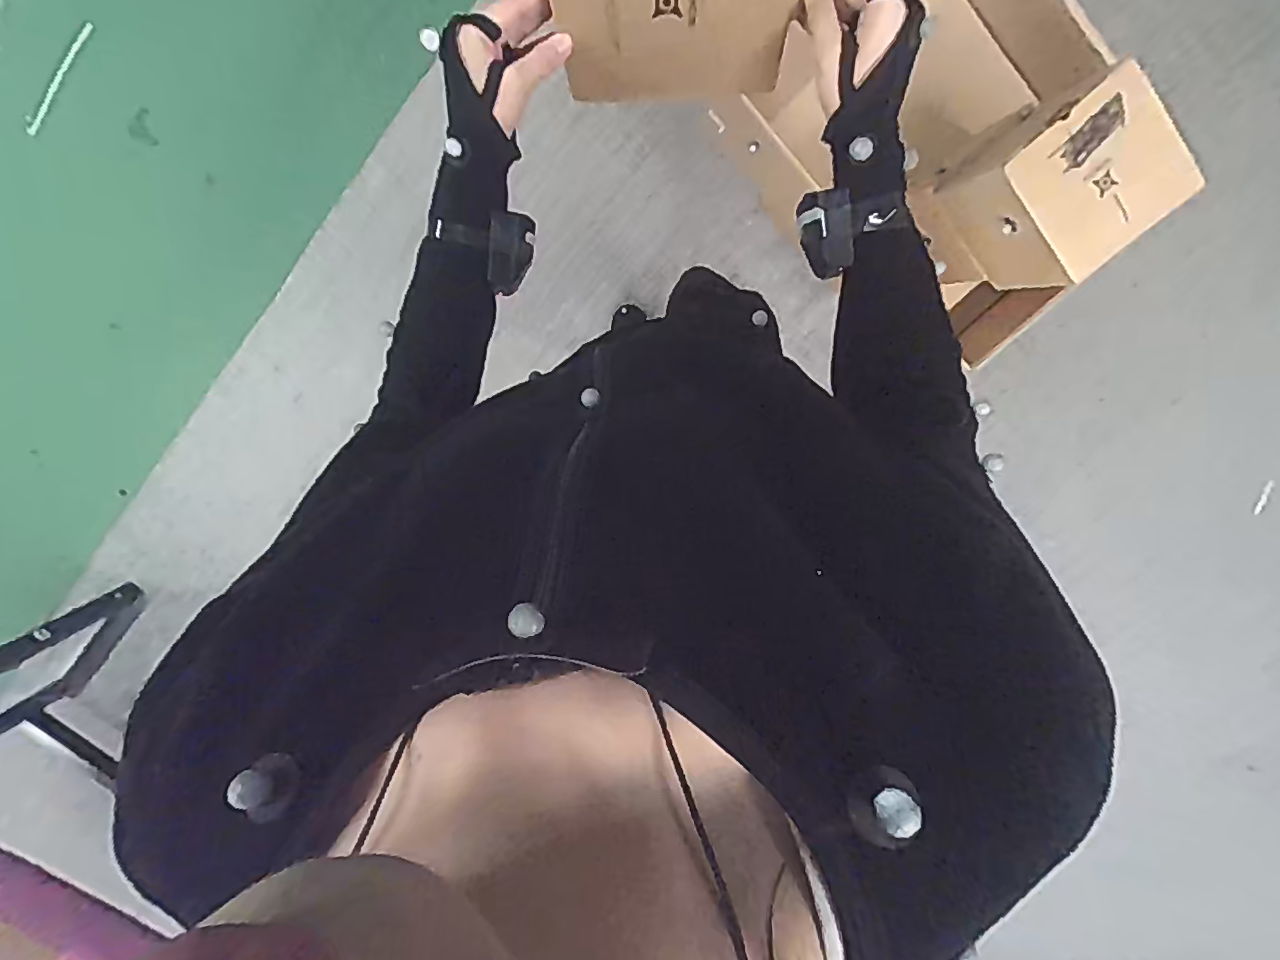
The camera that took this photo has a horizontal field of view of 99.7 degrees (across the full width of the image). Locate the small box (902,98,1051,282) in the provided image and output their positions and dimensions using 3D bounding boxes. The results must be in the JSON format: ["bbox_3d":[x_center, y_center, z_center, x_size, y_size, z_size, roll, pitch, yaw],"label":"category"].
[{"bbox_3d":[0.539,-0.430,0.841,0.179,0.176,0.168,-38,101,13],"label":"small box"}]

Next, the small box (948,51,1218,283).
[{"bbox_3d":[0.539,-0.371,0.687,0.168,0.176,0.179,-40,101,13],"label":"small box"}]

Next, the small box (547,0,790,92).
[{"bbox_3d":[0.019,-0.421,0.383,0.179,0.168,0.176,0,82,4],"label":"small box"}]
